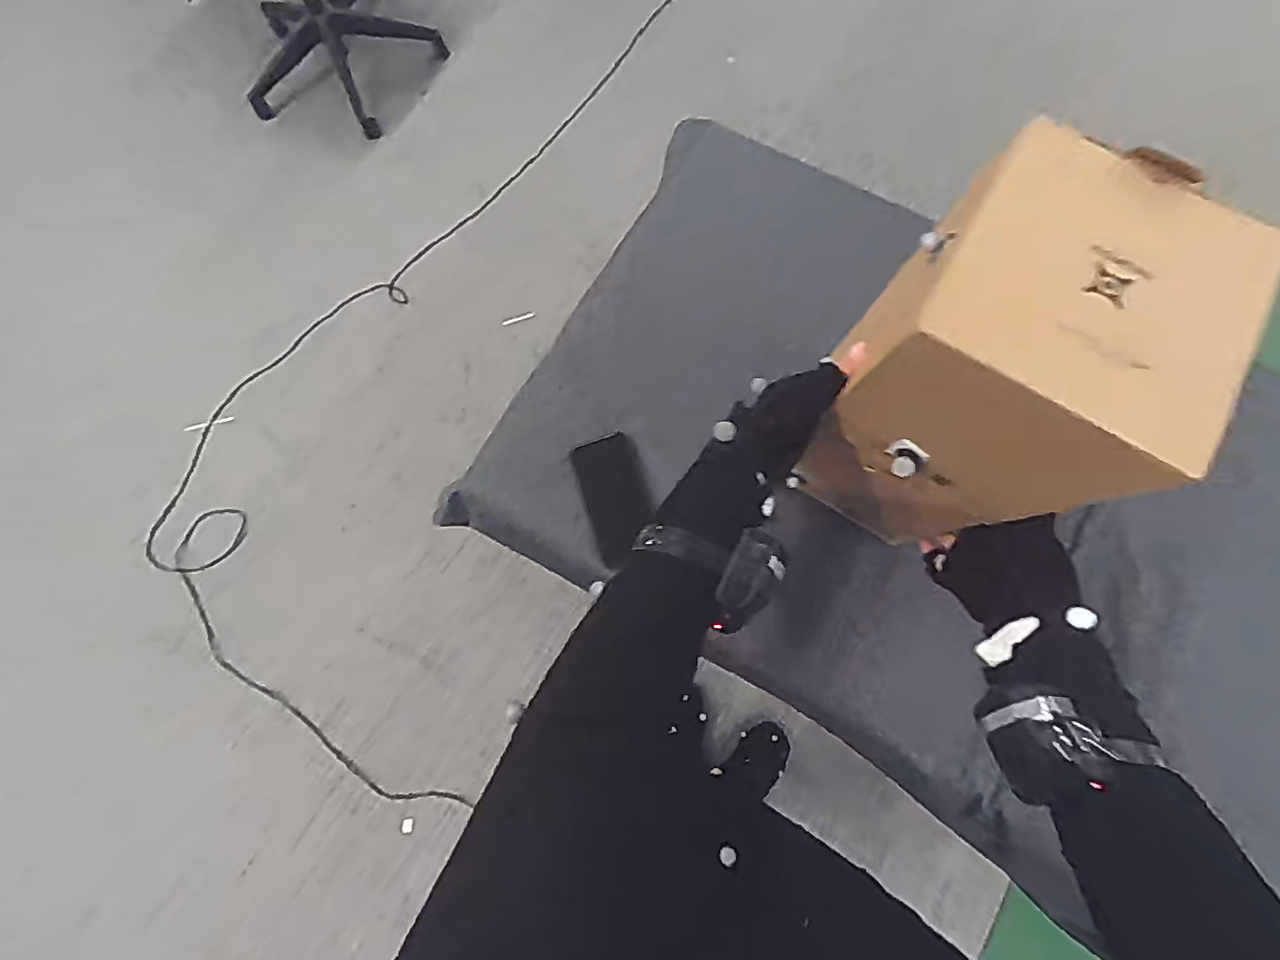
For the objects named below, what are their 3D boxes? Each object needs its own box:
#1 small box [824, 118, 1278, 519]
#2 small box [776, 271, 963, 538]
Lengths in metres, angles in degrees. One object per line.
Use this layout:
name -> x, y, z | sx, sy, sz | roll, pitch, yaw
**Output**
small box -> 0.258, -0.093, 0.385 | 0.168, 0.176, 0.179 | 31, 79, 7
small box -> 0.256, -0.060, 0.544 | 0.168, 0.176, 0.179 | 33, 77, 6
